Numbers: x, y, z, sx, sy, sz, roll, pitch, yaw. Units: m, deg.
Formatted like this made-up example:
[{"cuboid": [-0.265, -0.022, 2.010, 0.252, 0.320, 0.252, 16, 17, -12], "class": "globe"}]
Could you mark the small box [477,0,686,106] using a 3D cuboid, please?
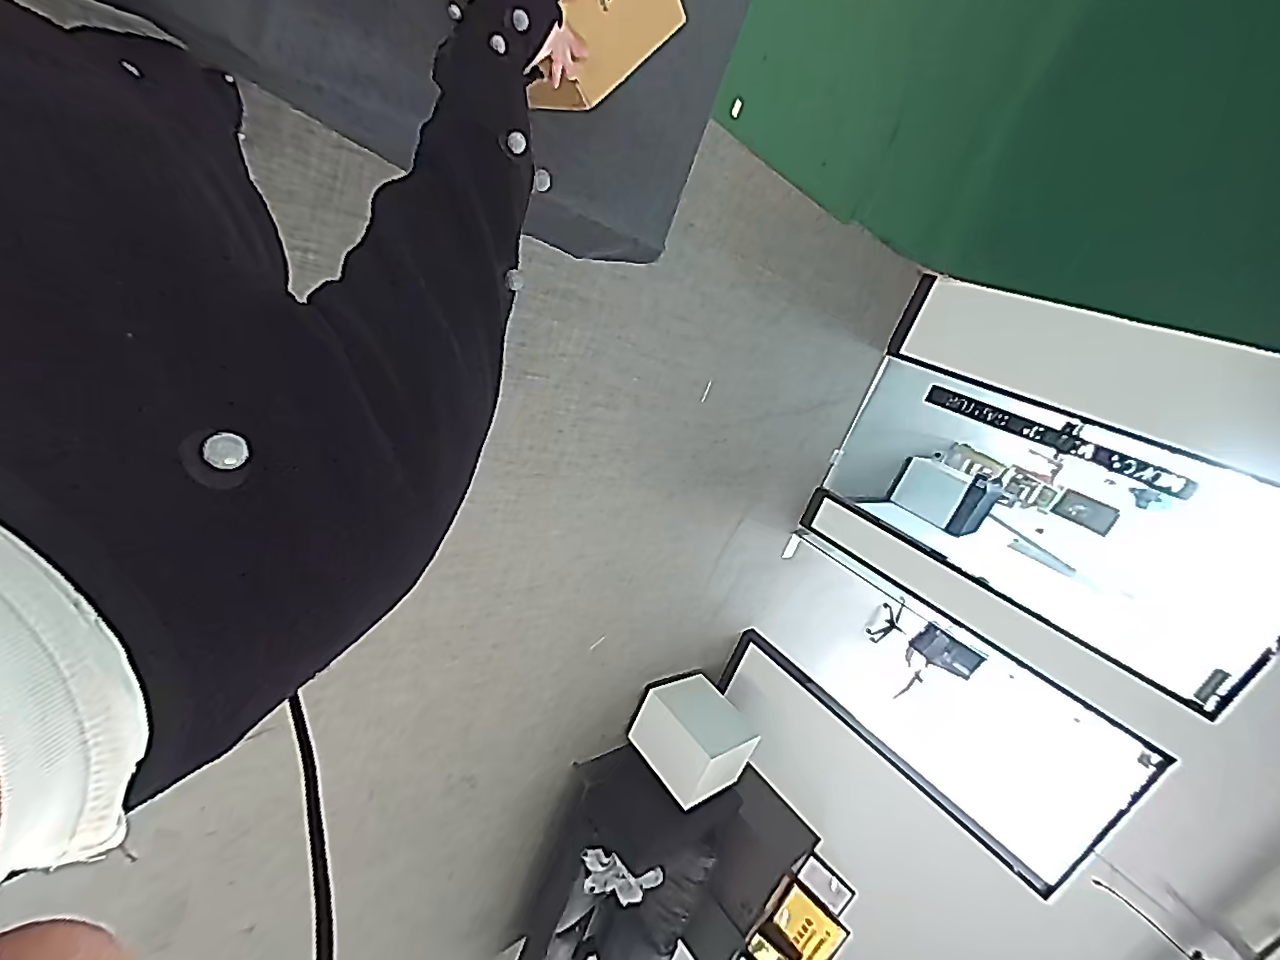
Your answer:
[{"cuboid": [-0.082, -0.588, 0.651, 0.179, 0.176, 0.168, -48, 141, -6], "class": "small box"}]
